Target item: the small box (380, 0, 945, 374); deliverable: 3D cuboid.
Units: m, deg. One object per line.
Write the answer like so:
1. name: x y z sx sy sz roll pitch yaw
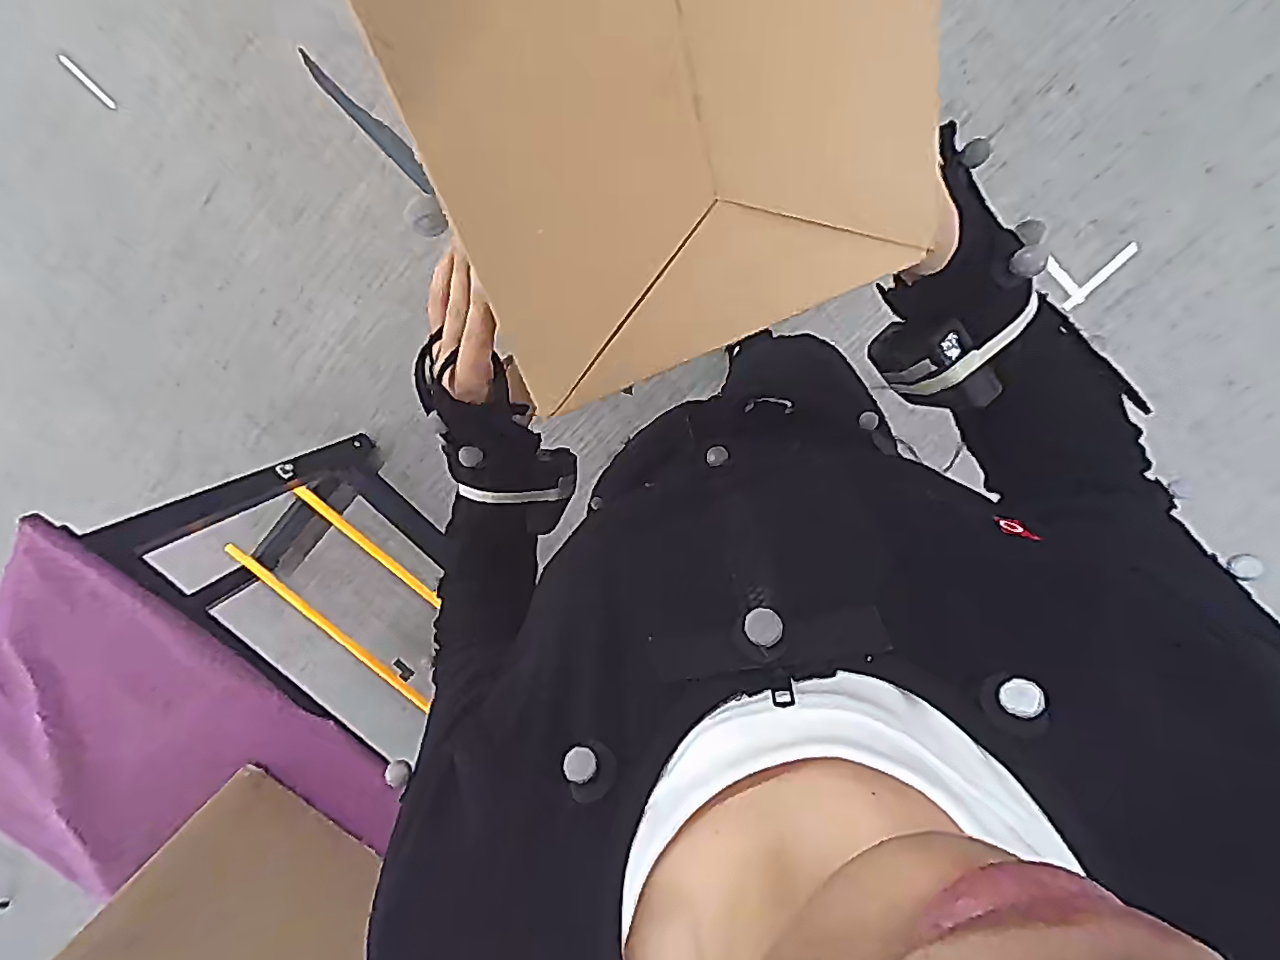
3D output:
1. small box: 0.003 -0.166 0.233 0.179 0.176 0.168 -24 124 -5
